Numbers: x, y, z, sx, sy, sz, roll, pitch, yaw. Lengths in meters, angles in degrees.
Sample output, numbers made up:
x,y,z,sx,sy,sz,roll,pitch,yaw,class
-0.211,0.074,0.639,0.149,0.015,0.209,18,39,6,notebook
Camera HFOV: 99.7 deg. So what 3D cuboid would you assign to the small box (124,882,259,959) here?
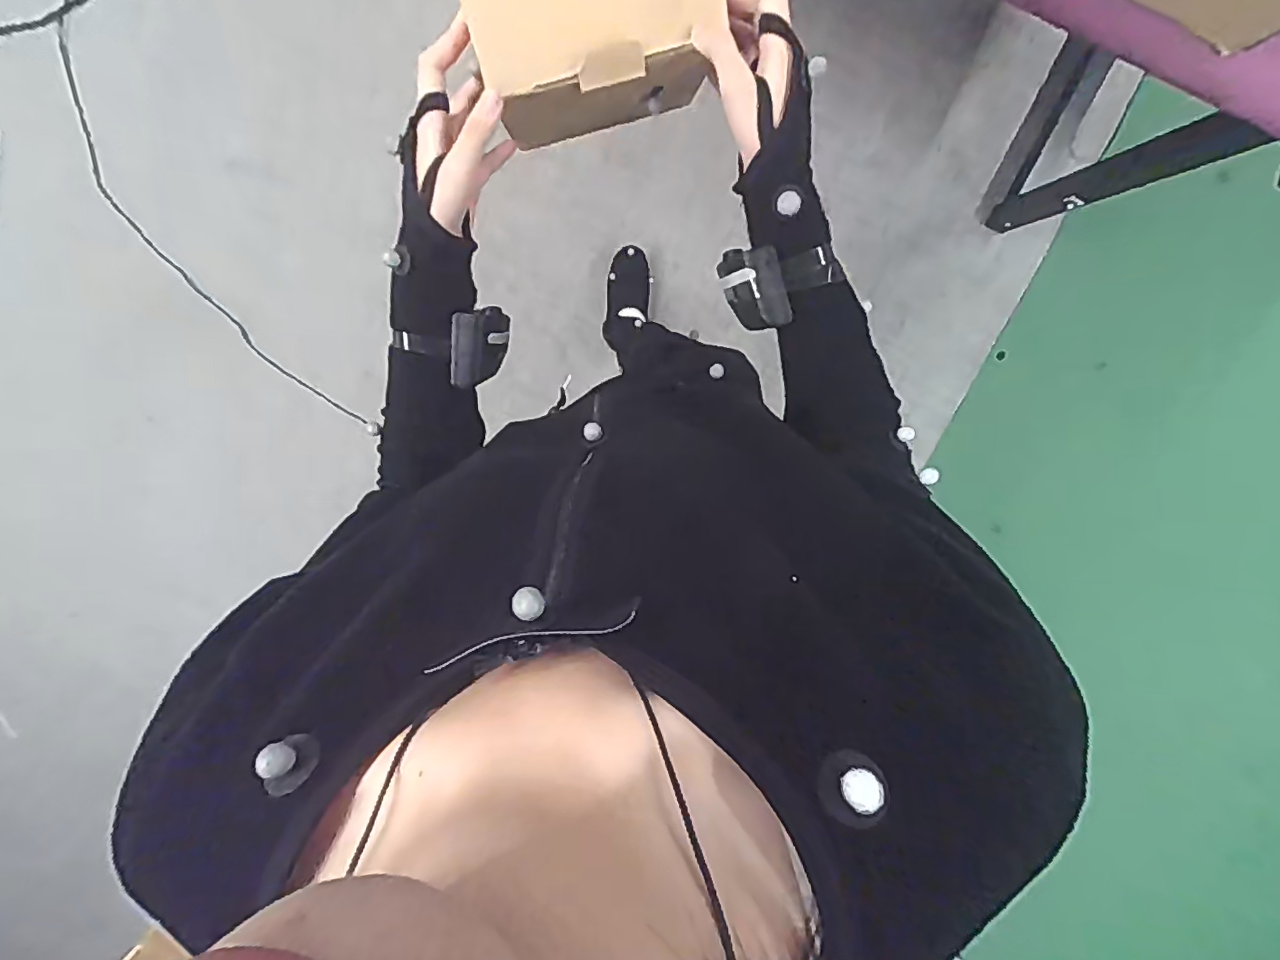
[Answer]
x,y,z,sx,sy,sz,roll,pitch,yaw,class
-1.022,1.056,1.215,0.179,0.176,0.168,42,102,-9,small box
